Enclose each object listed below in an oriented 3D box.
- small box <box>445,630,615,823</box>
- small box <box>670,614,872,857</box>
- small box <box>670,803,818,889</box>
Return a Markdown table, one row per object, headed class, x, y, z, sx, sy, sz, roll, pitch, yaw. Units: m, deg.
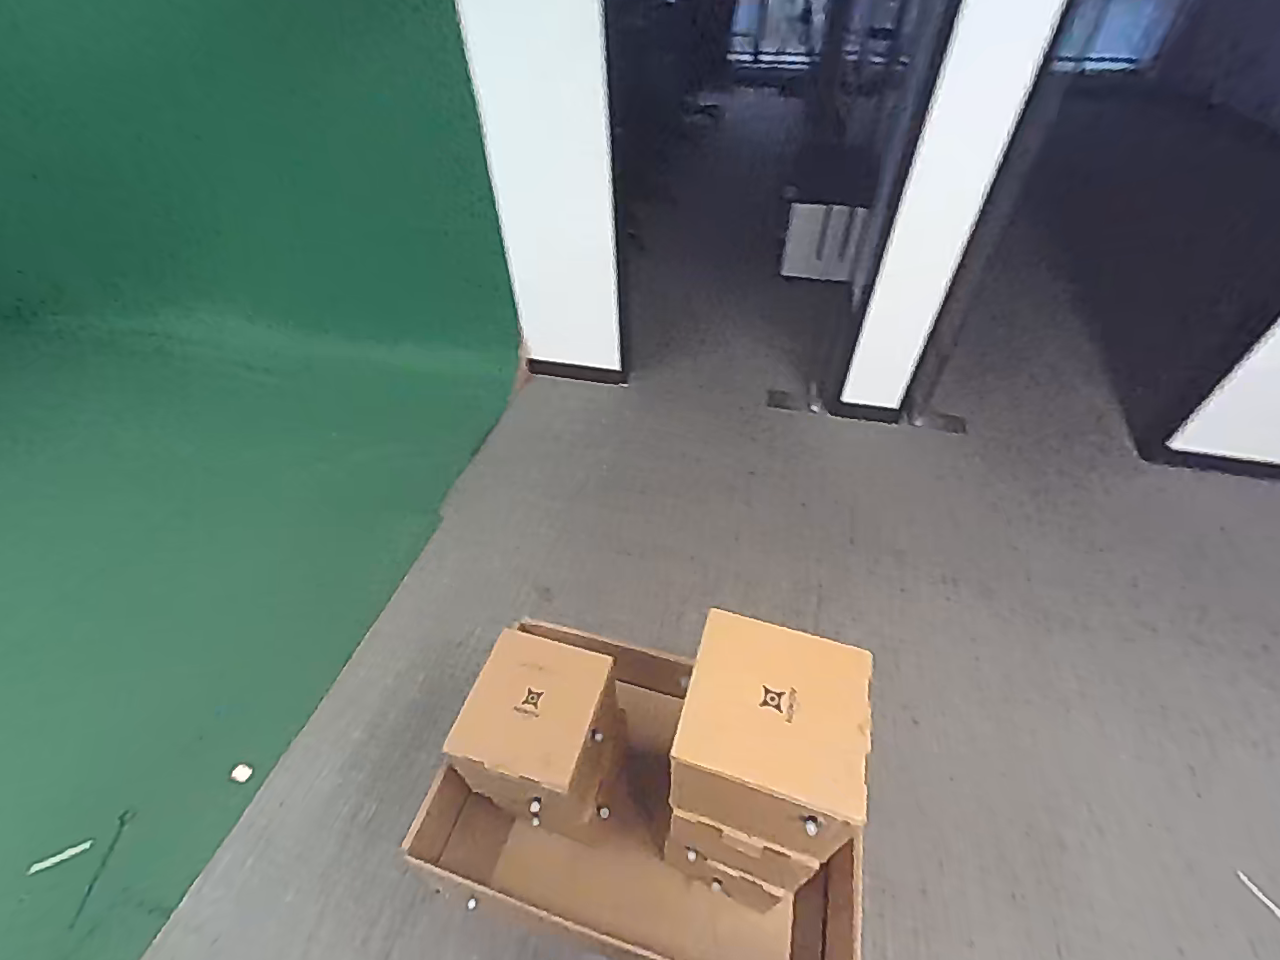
| class | x | y | z | sx | sy | sz | roll | pitch | yaw |
| --- | --- | --- | --- | --- | --- | --- | --- | --- | --- |
| small box | -0.137 | 0.346 | 0.755 | 0.168 | 0.176 | 0.179 | 13 | 47 | 12 |
| small box | 0.136 | 0.279 | 0.590 | 0.179 | 0.176 | 0.168 | 14 | 47 | 13 |
| small box | 0.142 | 0.395 | 0.704 | 0.168 | 0.176 | 0.179 | 14 | 47 | 14 |
